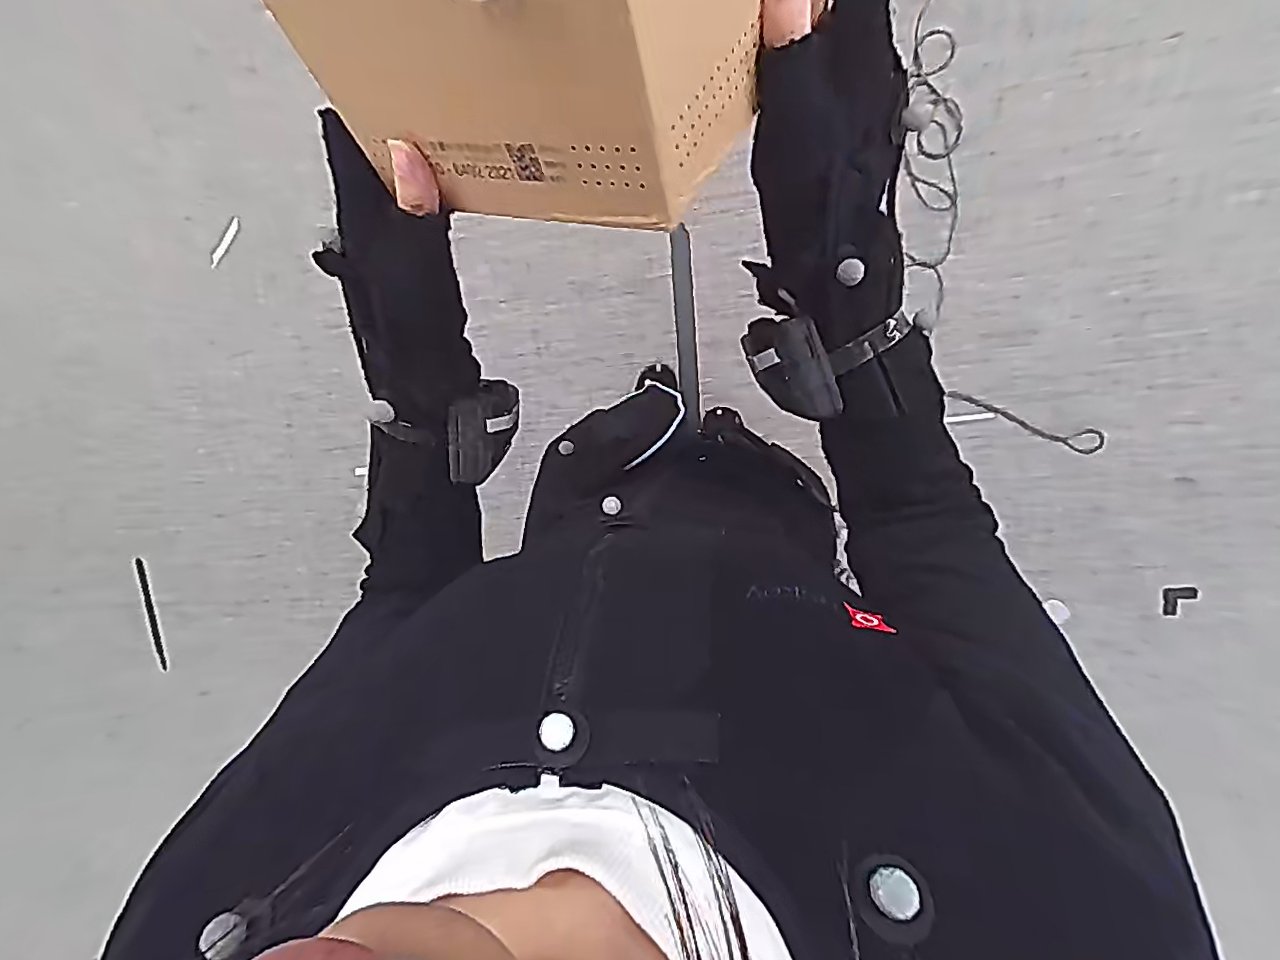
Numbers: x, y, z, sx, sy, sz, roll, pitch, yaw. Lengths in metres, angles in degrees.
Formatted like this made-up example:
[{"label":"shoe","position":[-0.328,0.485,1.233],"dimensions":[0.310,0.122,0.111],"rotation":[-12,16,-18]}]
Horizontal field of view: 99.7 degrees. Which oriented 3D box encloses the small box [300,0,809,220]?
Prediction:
[{"label":"small box","position":[-0.034,-0.236,0.224],"dimensions":[0.168,0.176,0.179],"rotation":[21,67,27]}]
